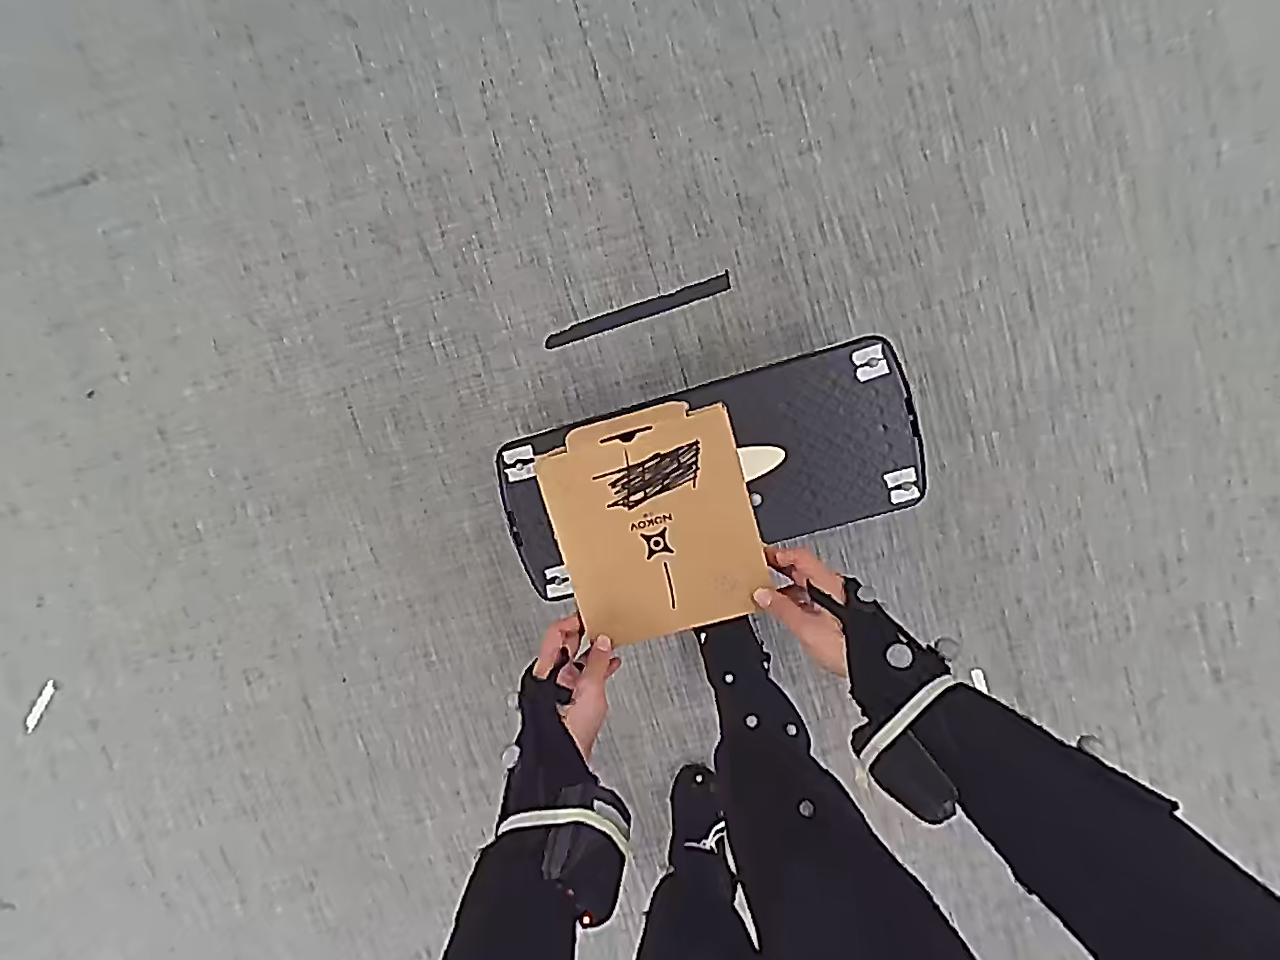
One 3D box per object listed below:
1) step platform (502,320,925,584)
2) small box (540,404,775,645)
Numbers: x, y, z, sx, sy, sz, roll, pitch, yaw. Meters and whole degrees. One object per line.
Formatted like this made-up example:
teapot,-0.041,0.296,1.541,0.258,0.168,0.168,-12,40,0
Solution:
step platform,0.115,-0.043,0.940,0.684,0.204,0.286,-16,94,5
small box,0.020,0.033,0.533,0.168,0.176,0.179,-15,95,7
